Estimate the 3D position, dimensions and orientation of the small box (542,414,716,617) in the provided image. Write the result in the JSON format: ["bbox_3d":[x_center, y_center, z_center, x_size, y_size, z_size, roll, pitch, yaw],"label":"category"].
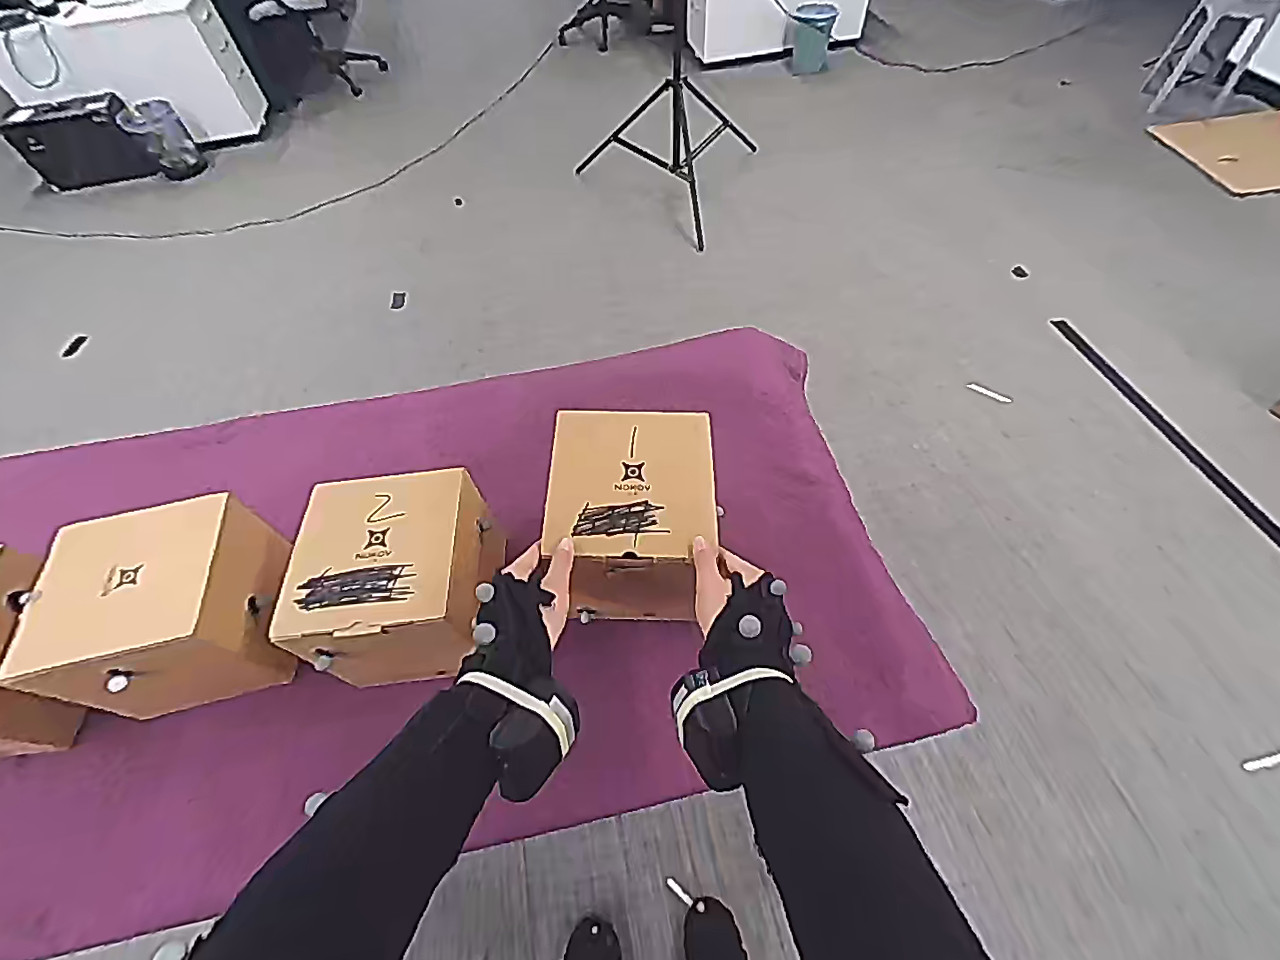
[{"bbox_3d":[-0.008,0.046,0.609,0.168,0.176,0.179,1,56,0],"label":"small box"}]
